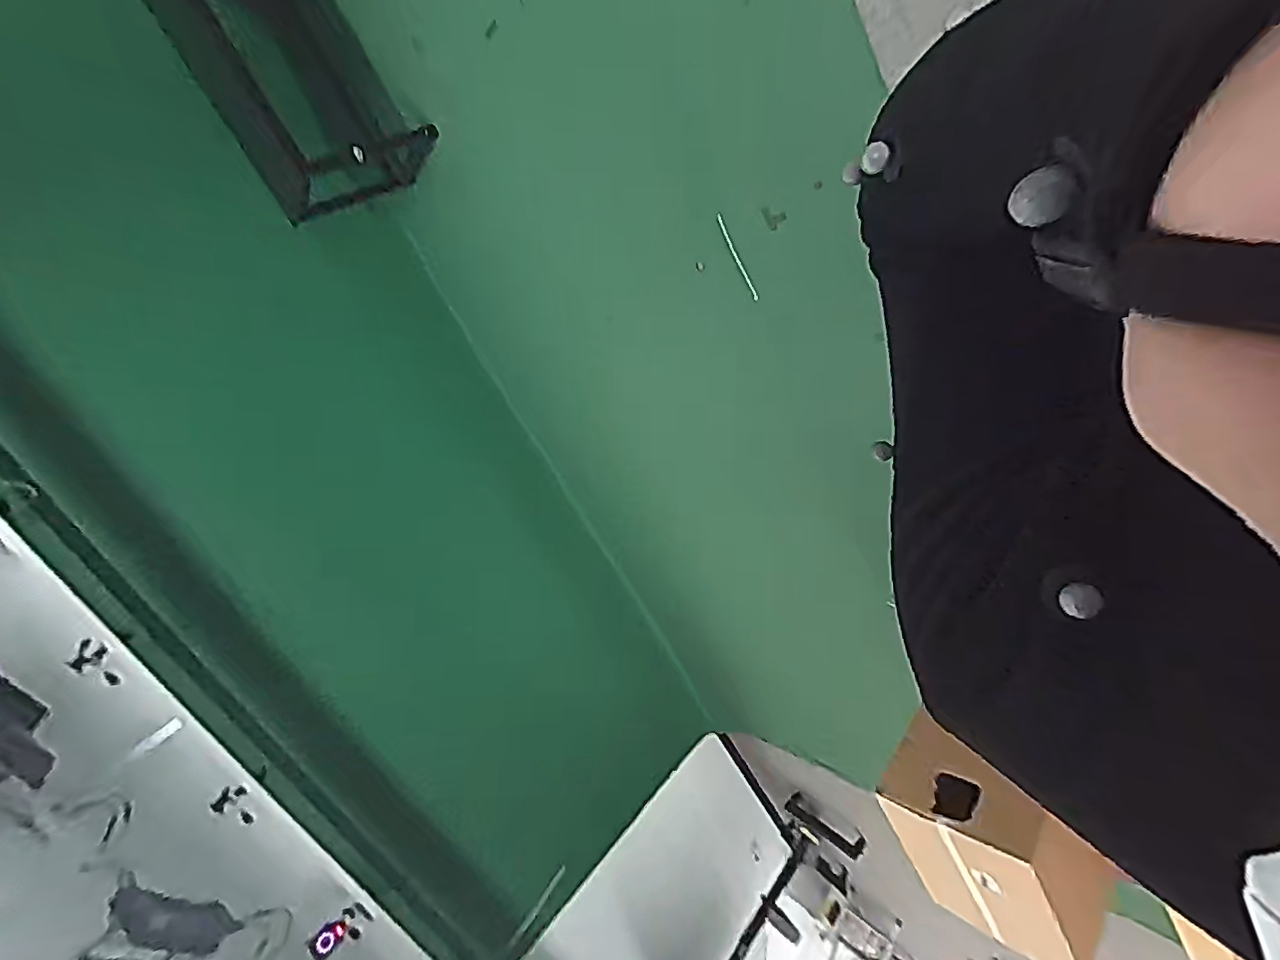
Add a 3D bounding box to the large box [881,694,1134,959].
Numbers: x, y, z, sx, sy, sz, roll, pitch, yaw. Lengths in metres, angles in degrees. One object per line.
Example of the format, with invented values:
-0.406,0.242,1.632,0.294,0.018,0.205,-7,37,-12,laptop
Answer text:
0.819,0.765,1.203,0.320,0.320,0.408,-8,117,55,large box
